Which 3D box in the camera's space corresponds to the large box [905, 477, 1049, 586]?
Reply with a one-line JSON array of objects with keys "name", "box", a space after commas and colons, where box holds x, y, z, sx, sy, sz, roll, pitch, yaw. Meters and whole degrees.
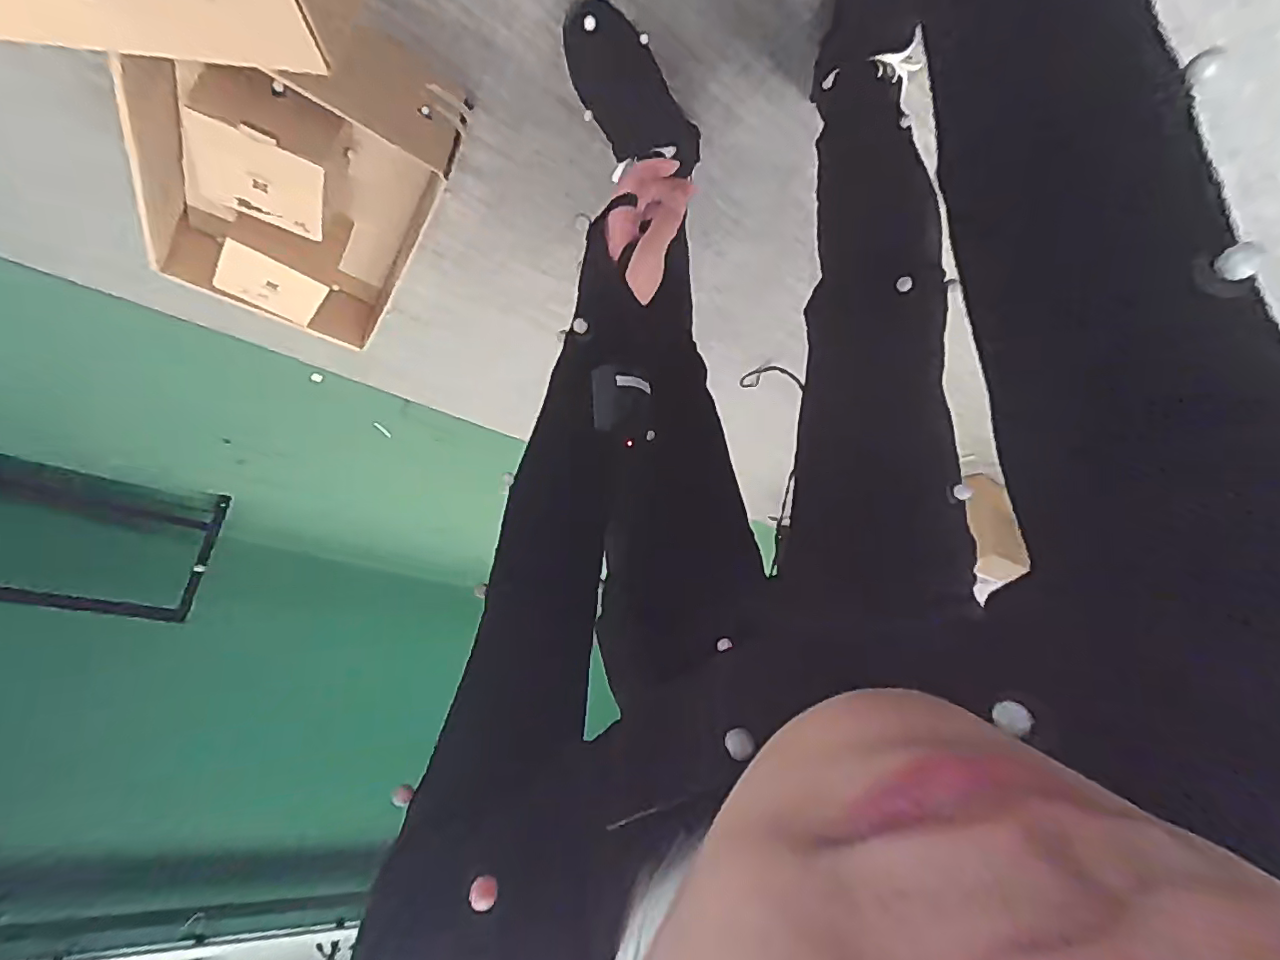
[{"name": "large box", "box": [1.304, 0.213, 2.111, 0.408, 0.320, 0.320, 18, 156, -30]}]

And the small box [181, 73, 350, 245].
[{"name": "small box", "box": [-0.554, -0.508, 0.820, 0.168, 0.176, 0.179, 17, 156, -27]}]
